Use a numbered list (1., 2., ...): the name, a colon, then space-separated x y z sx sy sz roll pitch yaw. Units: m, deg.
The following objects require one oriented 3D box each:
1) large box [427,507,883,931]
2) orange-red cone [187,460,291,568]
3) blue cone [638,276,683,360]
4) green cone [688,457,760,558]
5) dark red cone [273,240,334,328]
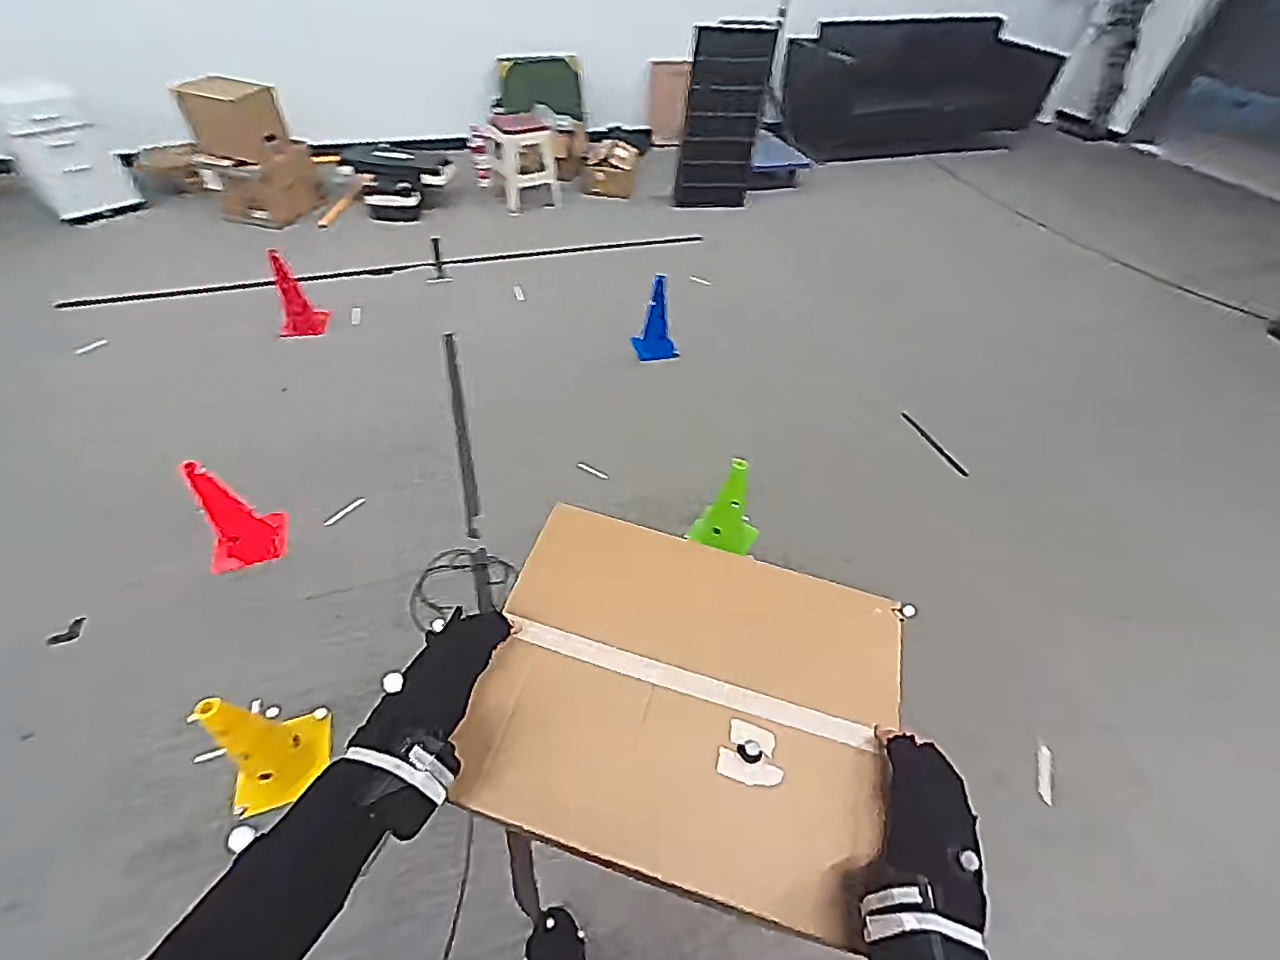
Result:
1. large box: 0.028 0.284 0.657 0.408 0.320 0.320 16 54 6
2. orange-red cone: -1.234 0.073 1.621 0.198 0.360 0.199 -14 51 -15
3. blue cone: 0.107 -0.747 2.476 0.192 0.380 0.193 -8 49 -12
4. green cone: 0.300 0.070 1.718 0.200 0.368 0.202 29 51 20
5. dark red cone: -1.558 -0.882 2.441 0.201 0.394 0.202 -6 48 -11
